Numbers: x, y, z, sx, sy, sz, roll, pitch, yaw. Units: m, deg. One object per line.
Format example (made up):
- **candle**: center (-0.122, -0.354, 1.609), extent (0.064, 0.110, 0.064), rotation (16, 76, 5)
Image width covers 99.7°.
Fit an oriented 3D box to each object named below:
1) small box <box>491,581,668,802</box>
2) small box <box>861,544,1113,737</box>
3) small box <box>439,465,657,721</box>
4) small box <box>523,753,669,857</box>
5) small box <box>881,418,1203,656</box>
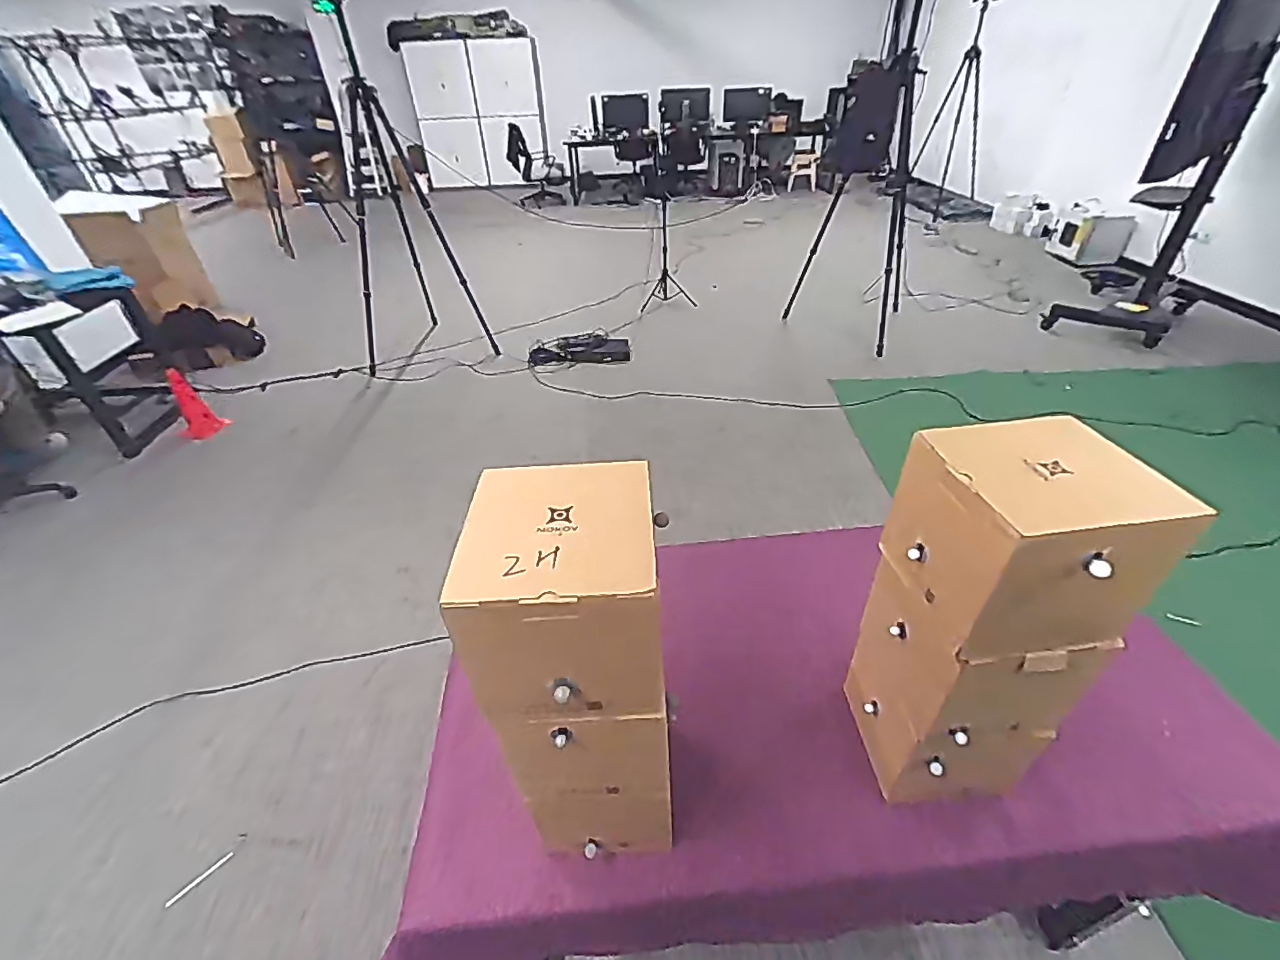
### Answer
- **small box**: center (-0.055, 0.238, 0.619), extent (0.168, 0.176, 0.179), rotation (-4, 36, 2)
- **small box**: center (0.391, 0.187, 0.651), extent (0.168, 0.176, 0.179), rotation (-5, 36, -3)
- **small box**: center (-0.071, 0.105, 0.523), extent (0.168, 0.176, 0.179), rotation (-4, 37, 1)
- **small box**: center (-0.047, 0.369, 0.718), extent (0.168, 0.176, 0.179), rotation (-2, 38, 2)
- **small box**: center (0.379, 0.056, 0.554), extent (0.179, 0.176, 0.168), rotation (-7, 37, -3)
